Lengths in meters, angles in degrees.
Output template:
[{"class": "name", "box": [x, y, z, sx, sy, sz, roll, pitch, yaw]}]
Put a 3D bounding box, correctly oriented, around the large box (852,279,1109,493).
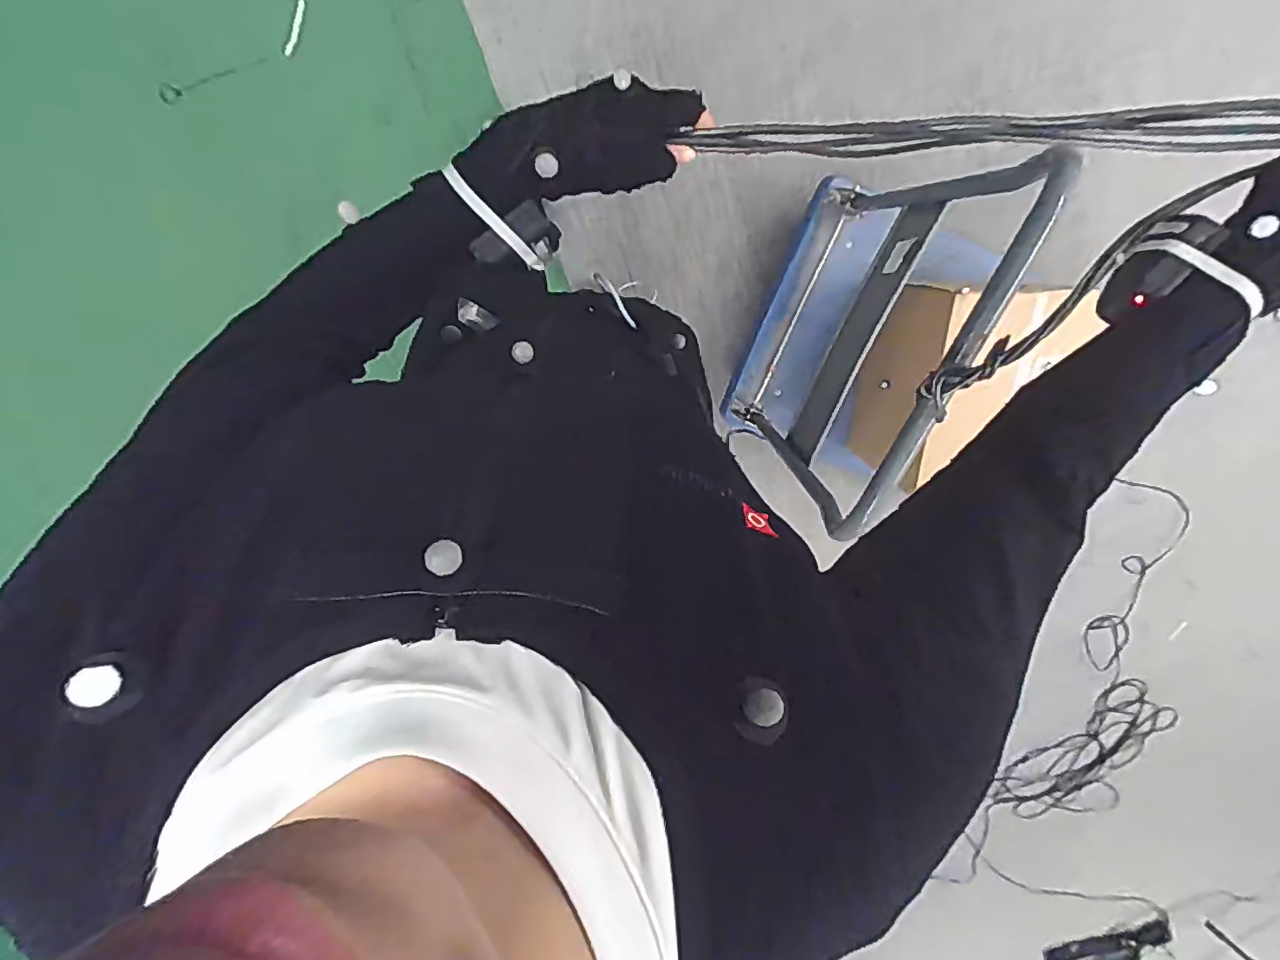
[{"class": "large box", "box": [0.693, -0.218, 1.182, 0.320, 0.320, 0.408, -3, 113, -5]}]
